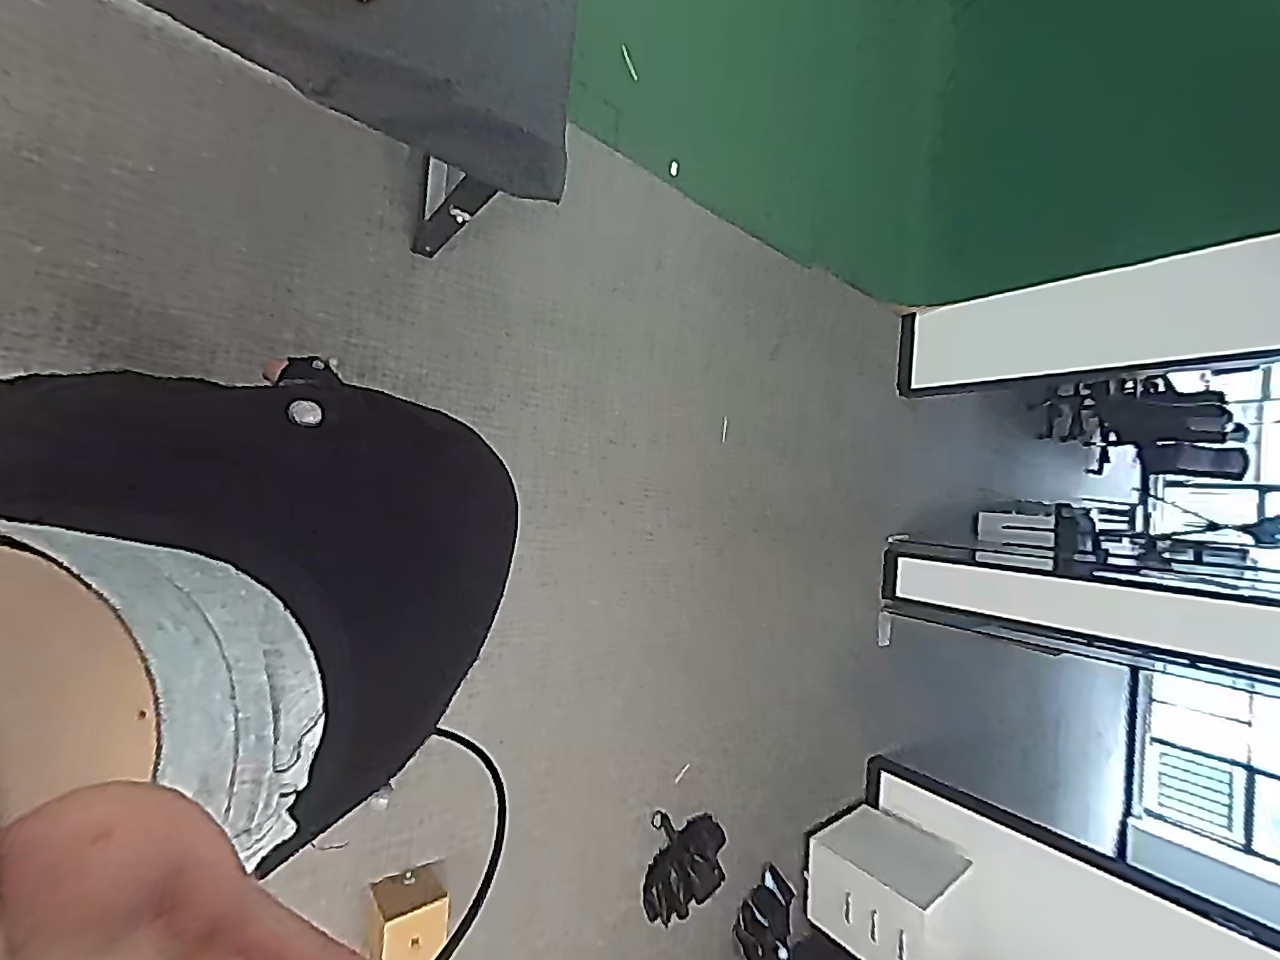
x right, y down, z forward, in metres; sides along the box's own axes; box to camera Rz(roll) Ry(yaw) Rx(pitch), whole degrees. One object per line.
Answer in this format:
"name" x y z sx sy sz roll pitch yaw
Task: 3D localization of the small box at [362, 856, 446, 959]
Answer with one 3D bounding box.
"small box" -0.642 1.176 1.463 0.168 0.176 0.179 4 88 -40
